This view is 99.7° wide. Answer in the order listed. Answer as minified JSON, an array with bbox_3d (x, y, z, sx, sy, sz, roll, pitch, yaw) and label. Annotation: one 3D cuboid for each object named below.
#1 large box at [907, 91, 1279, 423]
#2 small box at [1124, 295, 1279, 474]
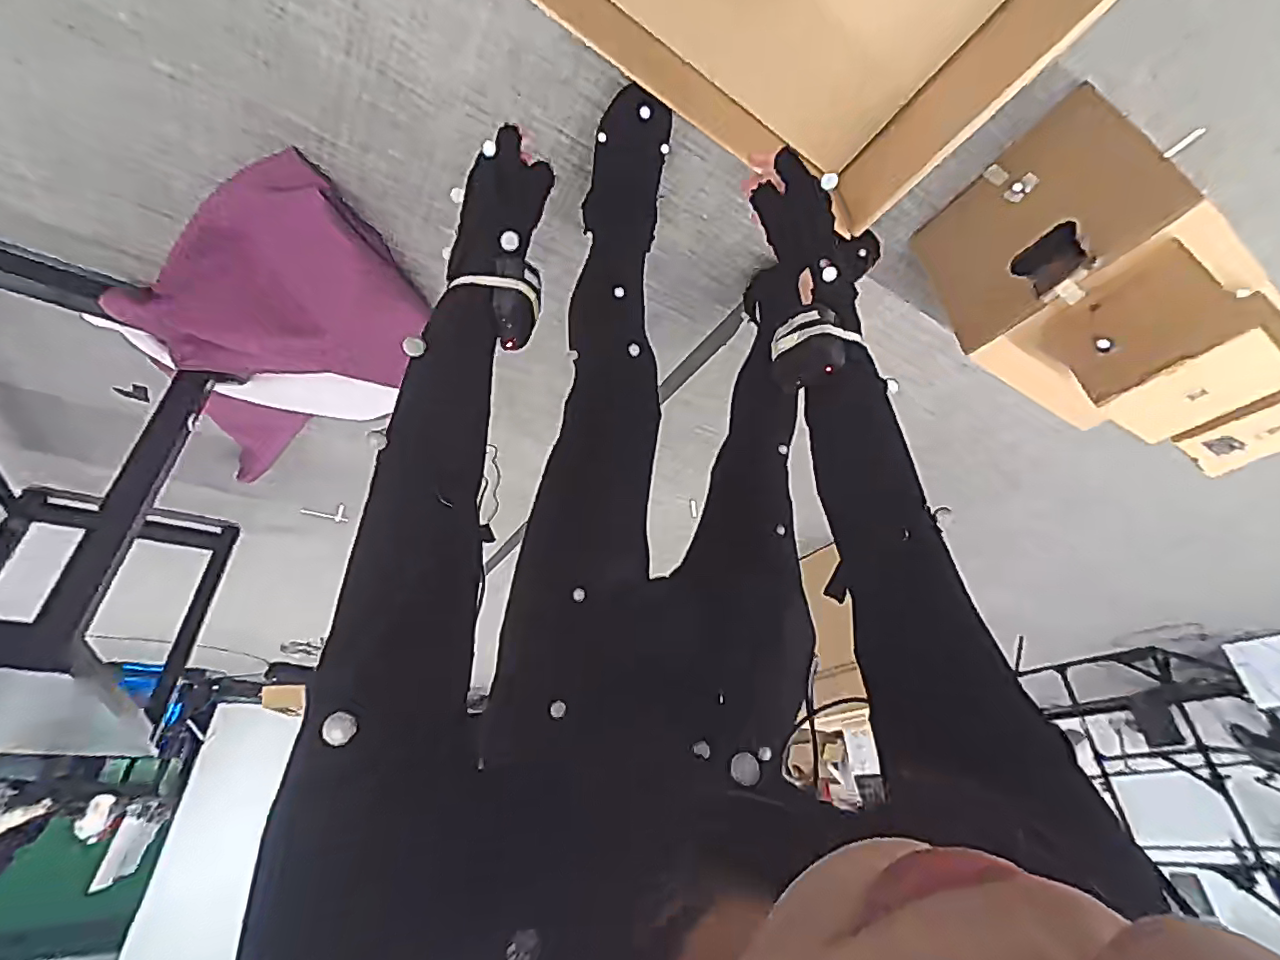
[{"bbox_3d":[0.757,-0.355,0.935,0.408,0.320,0.320,16,144,-27],"label":"large box"},{"bbox_3d":[0.894,-0.140,0.826,0.168,0.176,0.179,20,140,-30],"label":"small box"}]
